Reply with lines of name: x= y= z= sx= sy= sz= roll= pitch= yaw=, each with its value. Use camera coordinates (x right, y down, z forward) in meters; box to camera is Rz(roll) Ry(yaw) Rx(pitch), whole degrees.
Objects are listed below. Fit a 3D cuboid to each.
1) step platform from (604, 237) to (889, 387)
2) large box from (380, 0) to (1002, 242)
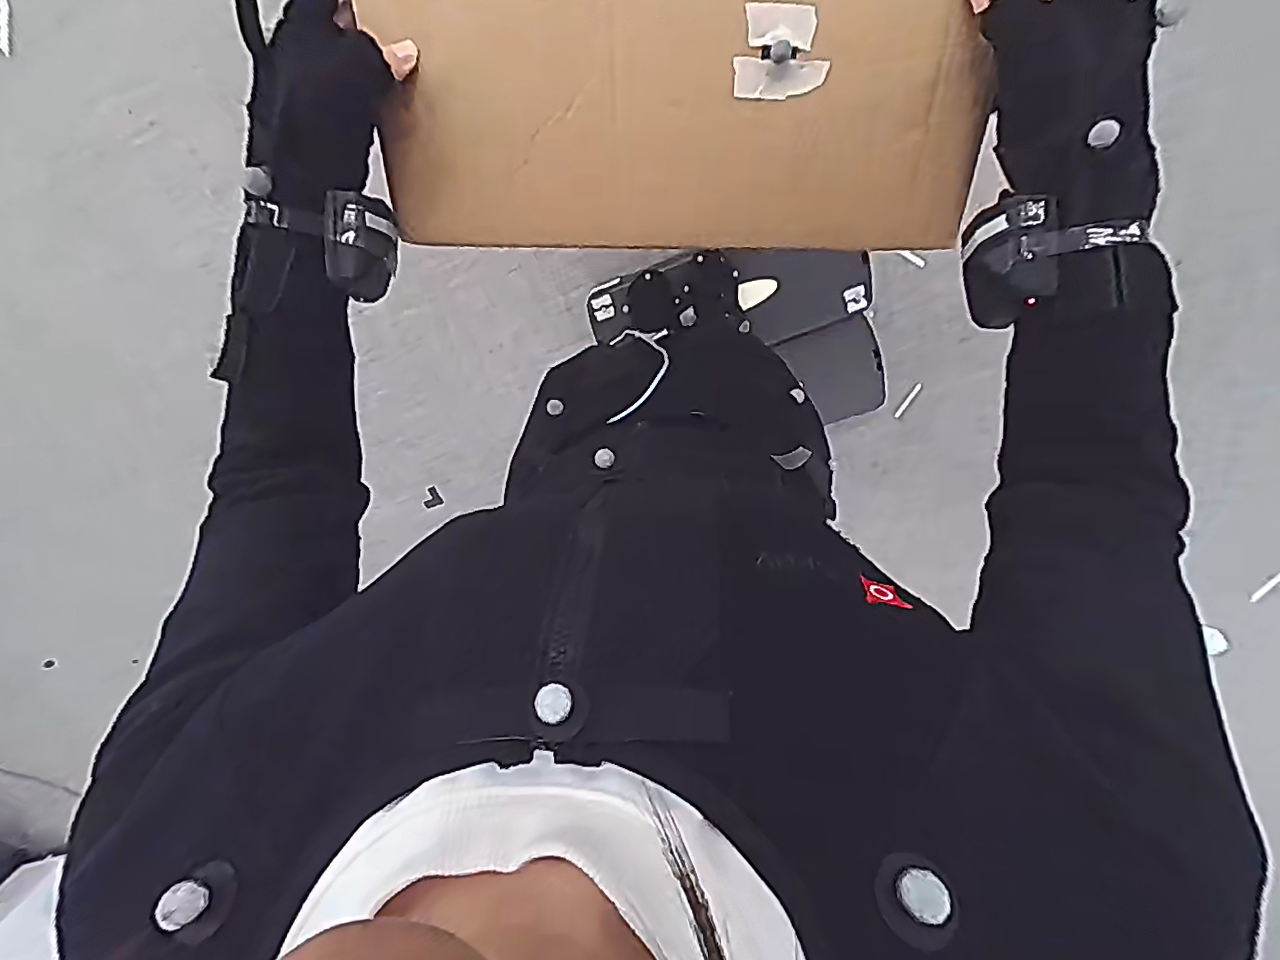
step platform: x=0.255 y=-0.484 z=1.371 sx=0.684 sy=0.204 sz=0.286 roll=-19 pitch=112 yaw=14
large box: x=0.035 y=-0.387 z=0.469 sx=0.408 sy=0.320 sz=0.320 roll=2 pitch=118 yaw=3
